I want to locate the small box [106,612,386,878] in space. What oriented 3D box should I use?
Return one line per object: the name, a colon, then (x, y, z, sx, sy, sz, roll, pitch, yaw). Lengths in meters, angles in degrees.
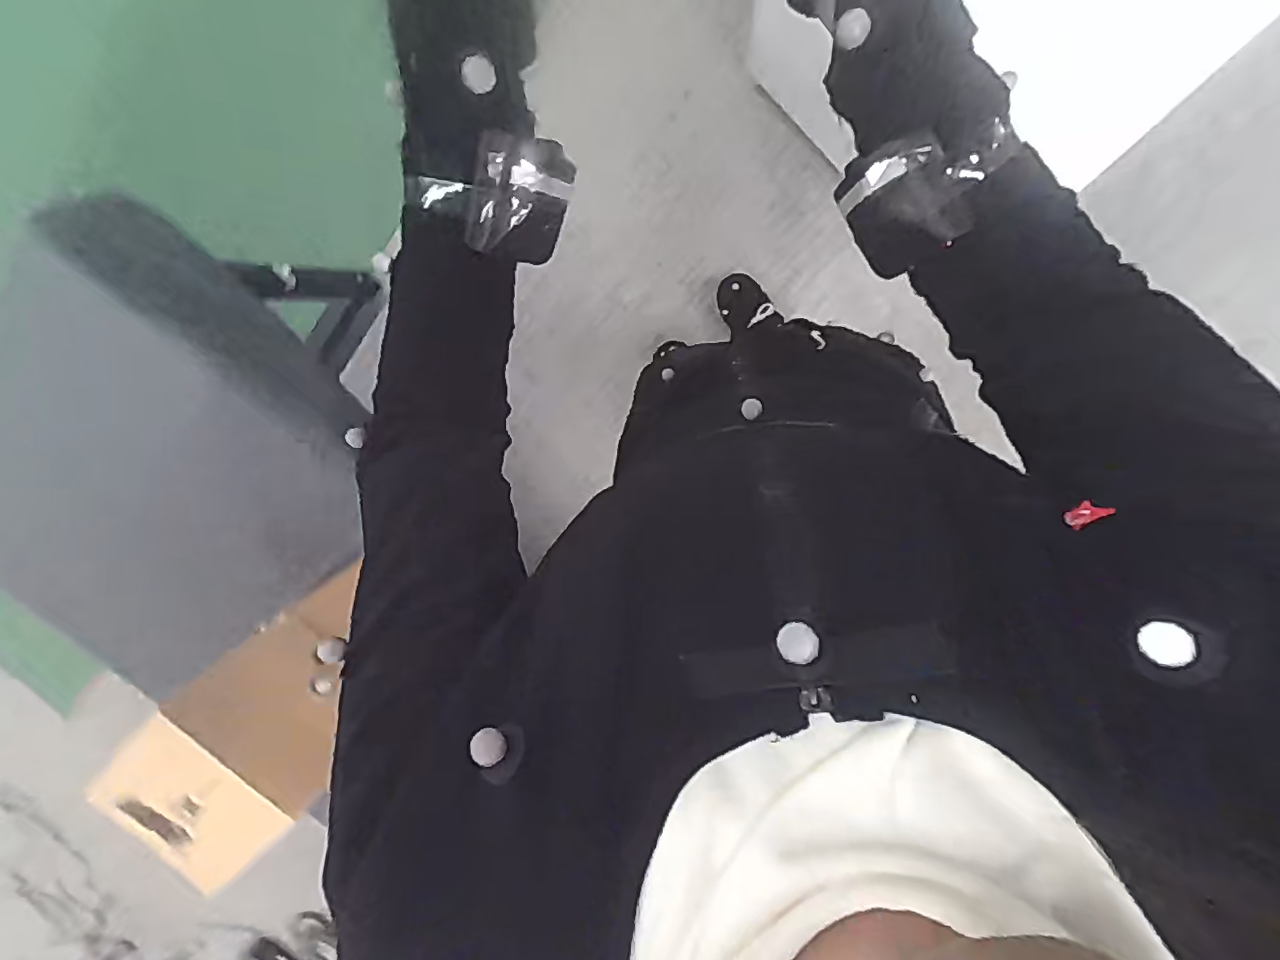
small box: (-0.431, 0.290, 0.615, 0.168, 0.176, 0.179, 43, 112, -5)
